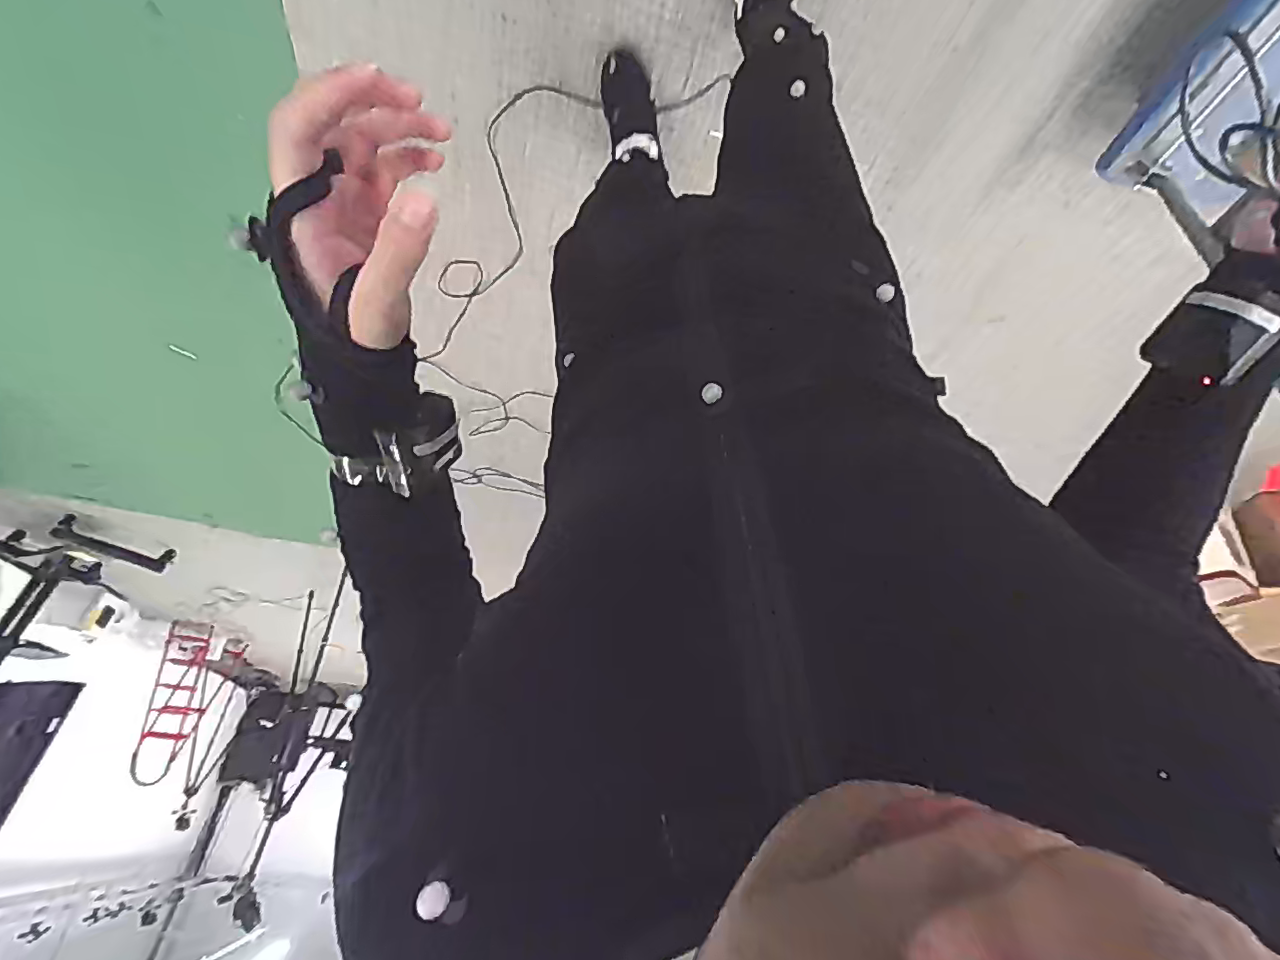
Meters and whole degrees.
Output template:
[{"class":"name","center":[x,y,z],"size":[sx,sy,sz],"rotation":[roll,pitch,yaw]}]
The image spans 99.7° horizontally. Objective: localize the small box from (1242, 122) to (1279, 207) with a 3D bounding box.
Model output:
[{"class":"small box","center":[1.251,-0.580,0.949],"size":[0.179,0.176,0.168],"rotation":[10,147,-5]}]
